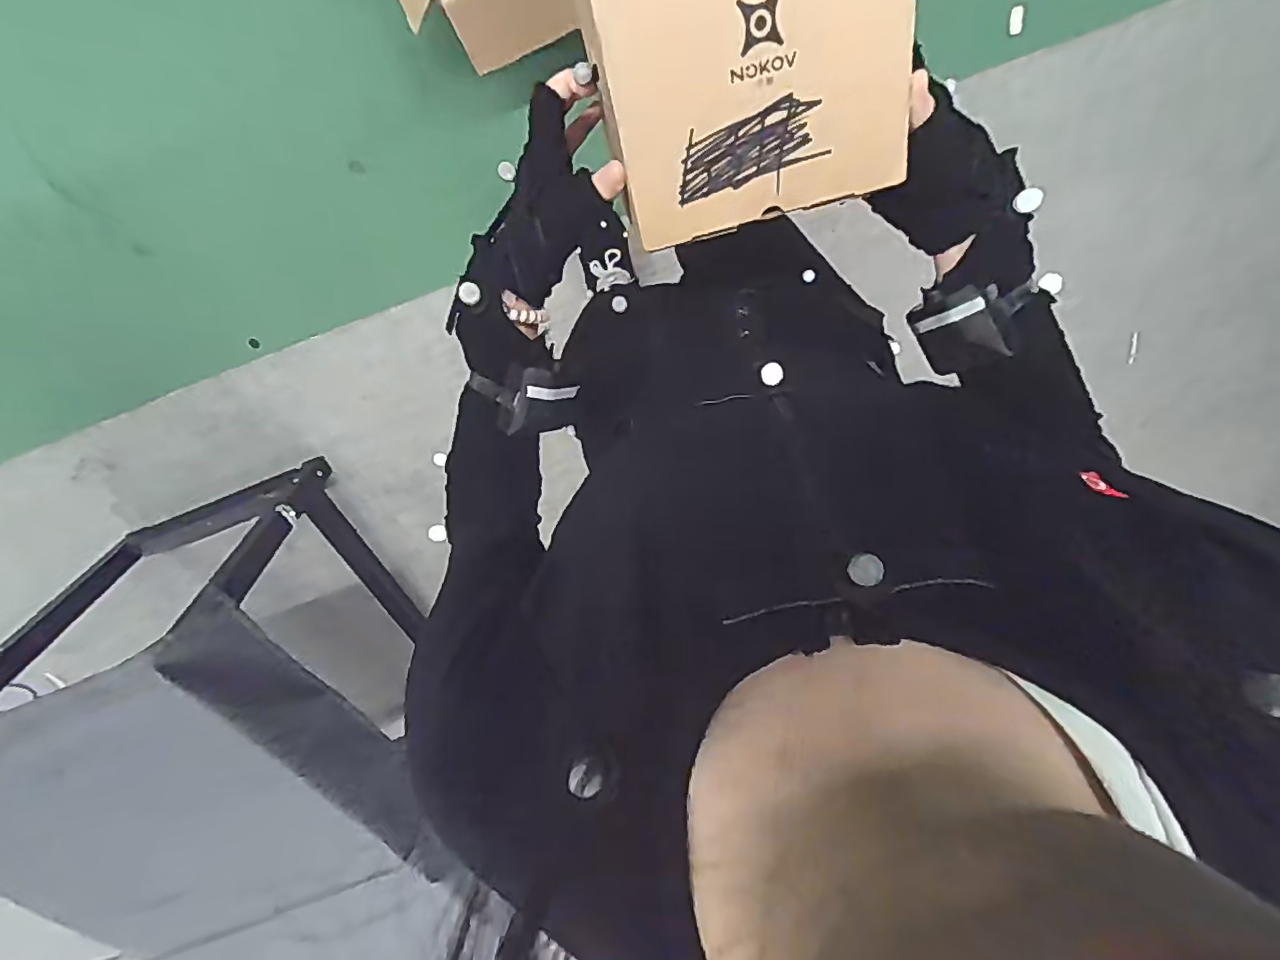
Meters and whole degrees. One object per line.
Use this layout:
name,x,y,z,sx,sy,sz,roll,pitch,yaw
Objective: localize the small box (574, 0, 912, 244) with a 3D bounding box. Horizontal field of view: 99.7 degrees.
small box,0.050,-0.279,0.341,0.168,0.176,0.179,-15,127,4
